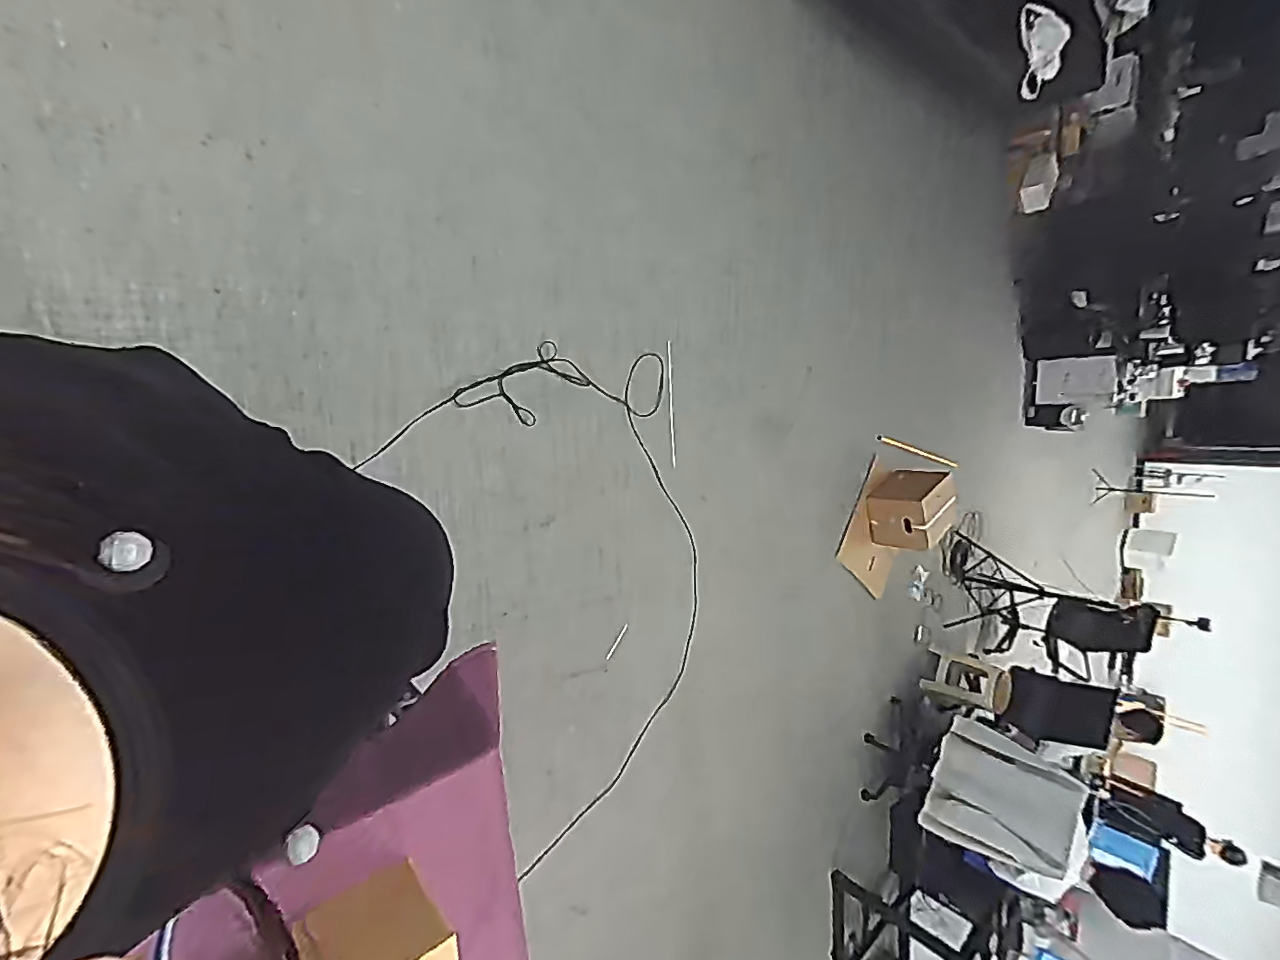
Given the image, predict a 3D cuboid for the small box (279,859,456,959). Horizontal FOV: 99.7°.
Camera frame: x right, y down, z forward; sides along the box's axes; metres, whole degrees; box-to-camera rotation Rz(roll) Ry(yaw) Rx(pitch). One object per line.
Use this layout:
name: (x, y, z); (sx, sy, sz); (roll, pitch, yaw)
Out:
small box: (-0.355, 0.658, 0.714); (0.179, 0.176, 0.168); (-10, 101, -38)
